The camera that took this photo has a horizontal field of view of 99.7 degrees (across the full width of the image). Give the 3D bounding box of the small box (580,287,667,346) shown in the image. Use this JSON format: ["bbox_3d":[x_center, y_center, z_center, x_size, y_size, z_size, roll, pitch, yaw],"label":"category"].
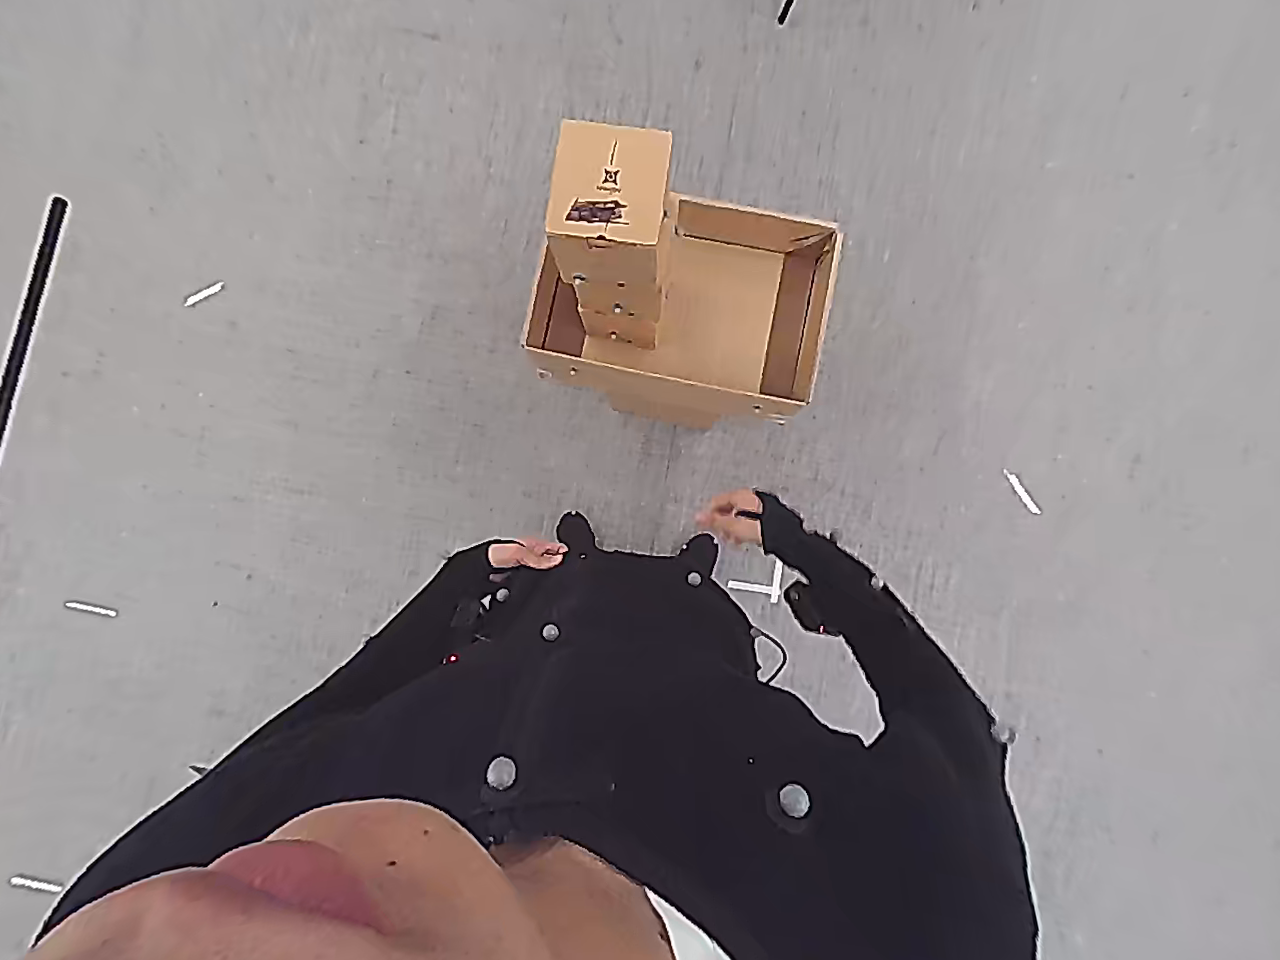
[{"bbox_3d":[-0.029,-0.416,1.188,0.168,0.176,0.179,11,87,1],"label":"small box"}]

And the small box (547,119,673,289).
[{"bbox_3d":[-0.042,-0.425,0.859,0.168,0.176,0.179,8,87,1],"label":"small box"}]

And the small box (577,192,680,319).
[{"bbox_3d":[-0.025,-0.428,1.024,0.168,0.176,0.179,10,87,1],"label":"small box"}]
